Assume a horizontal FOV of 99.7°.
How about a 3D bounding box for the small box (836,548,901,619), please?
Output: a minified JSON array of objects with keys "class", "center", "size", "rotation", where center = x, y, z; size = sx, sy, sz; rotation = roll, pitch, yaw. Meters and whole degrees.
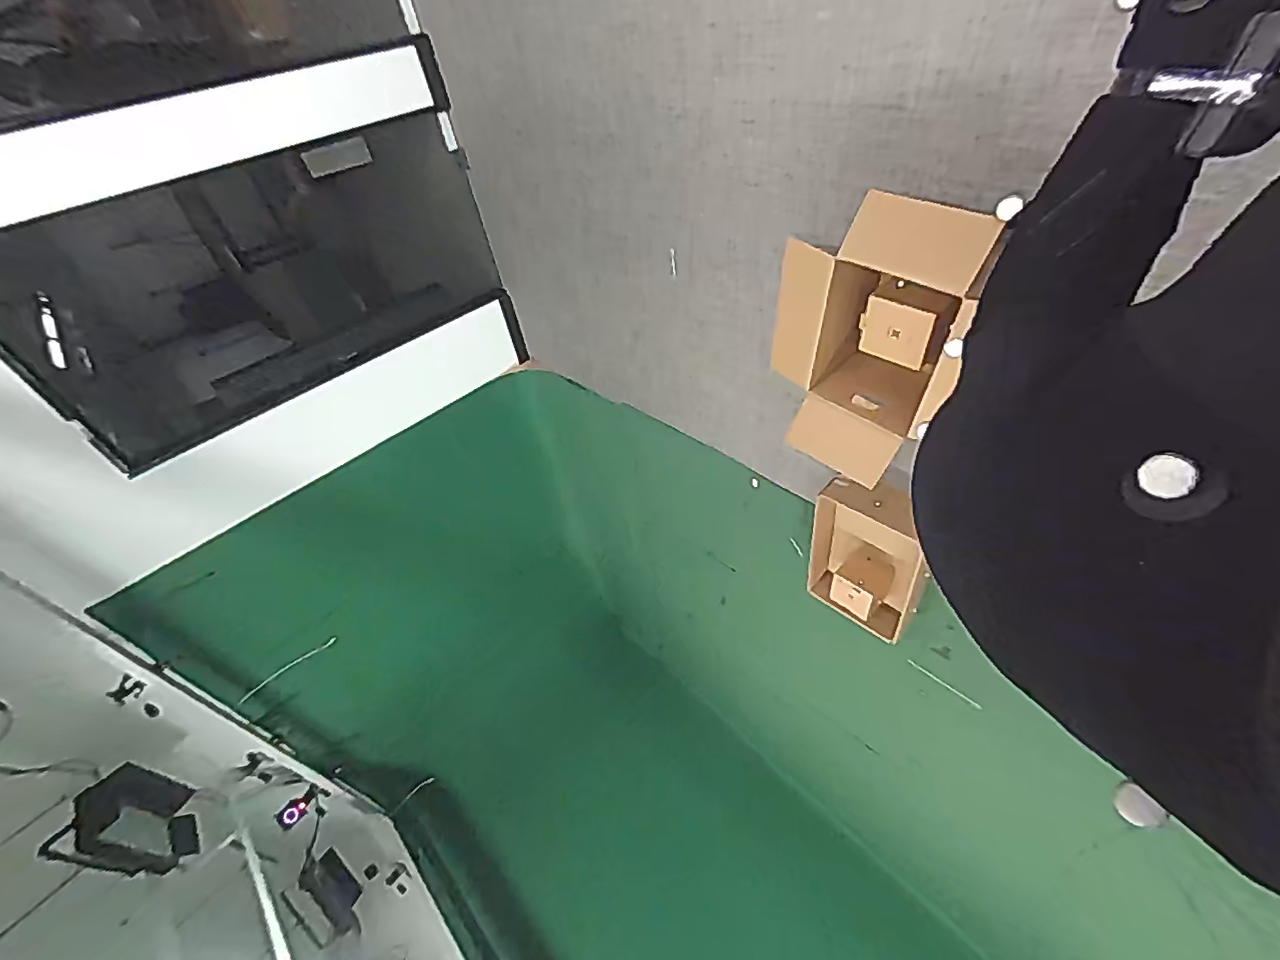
[{"class":"small box","center":[0.903,0.406,2.136],"size":[0.168,0.176,0.179],"rotation":[34,148,37]}]
